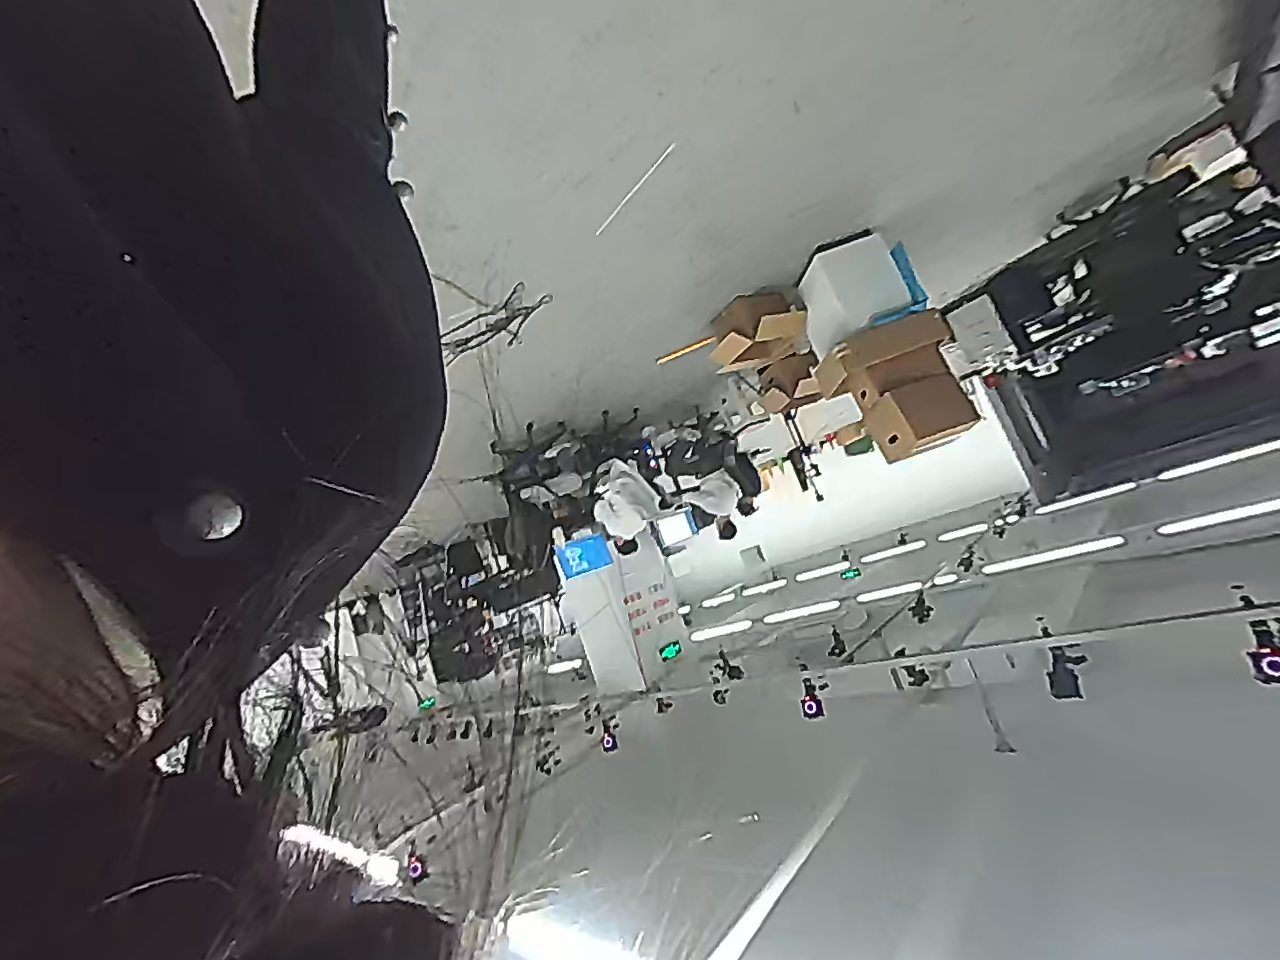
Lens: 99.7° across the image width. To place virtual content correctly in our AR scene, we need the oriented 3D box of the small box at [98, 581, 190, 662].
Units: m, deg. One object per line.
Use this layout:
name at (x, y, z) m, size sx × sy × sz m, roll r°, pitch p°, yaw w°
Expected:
small box at (-1.397, 0.396, 1.524) m, size 0.168 × 0.176 × 0.179 m, roll -13°, pitch 169°, yaw -44°
